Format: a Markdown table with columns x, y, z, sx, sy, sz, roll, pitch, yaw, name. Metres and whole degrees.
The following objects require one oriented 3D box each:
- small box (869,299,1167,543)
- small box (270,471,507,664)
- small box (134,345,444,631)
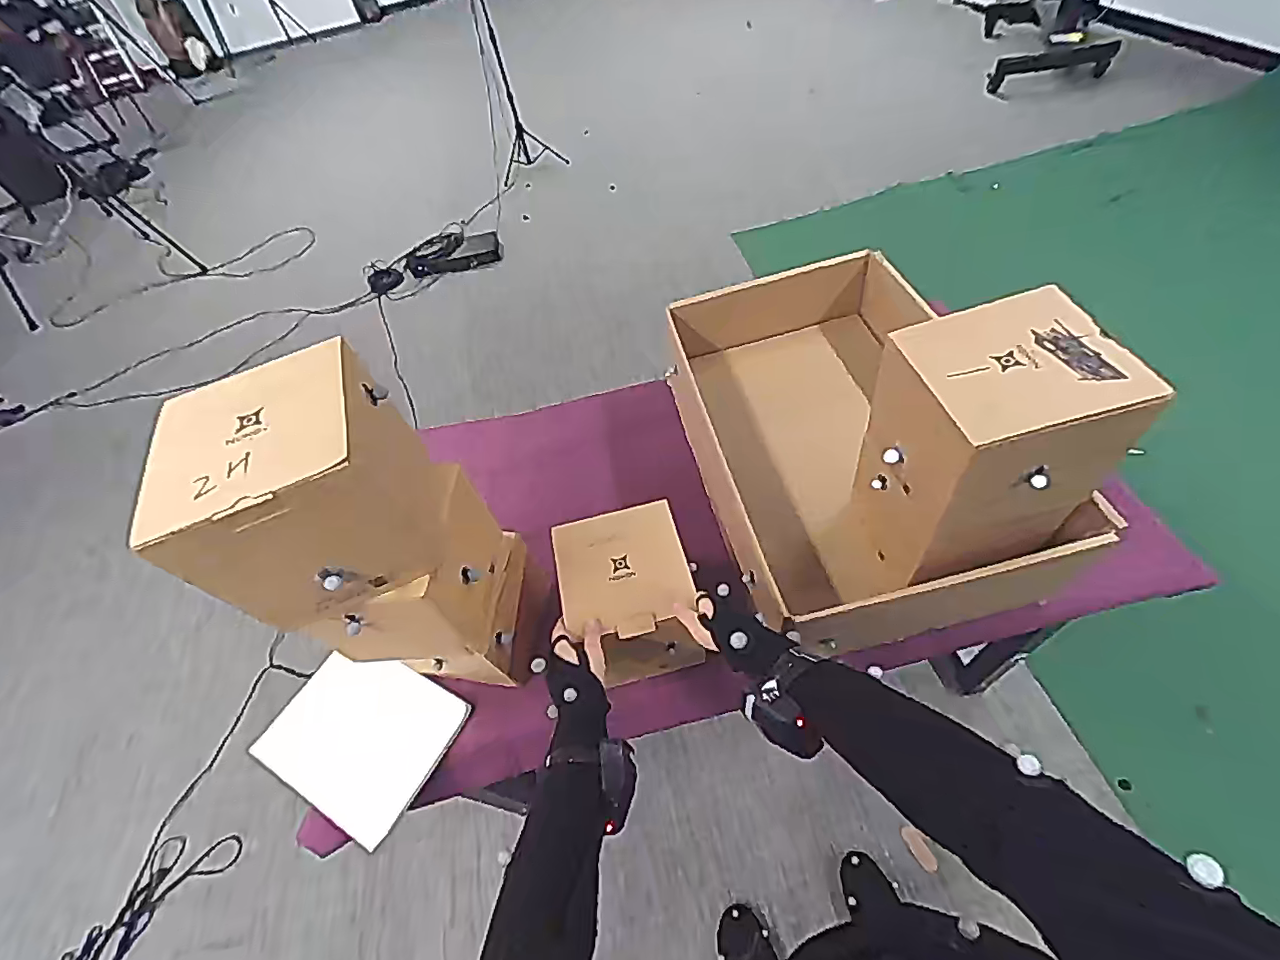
| x | y | z | sx | sy | sz | roll | pitch | yaw | name |
| --- | --- | --- | --- | --- | --- | --- | --- | --- | --- |
| 0.368 | -0.056 | 0.574 | 0.179 | 0.176 | 0.168 | -15 | 51 | 3 | small box |
| -0.274 | 0.109 | 0.639 | 0.179 | 0.176 | 0.168 | -5 | 52 | 8 | small box |
| -0.306 | 0.010 | 0.512 | 0.168 | 0.176 | 0.179 | -23 | 52 | -6 | small box |
